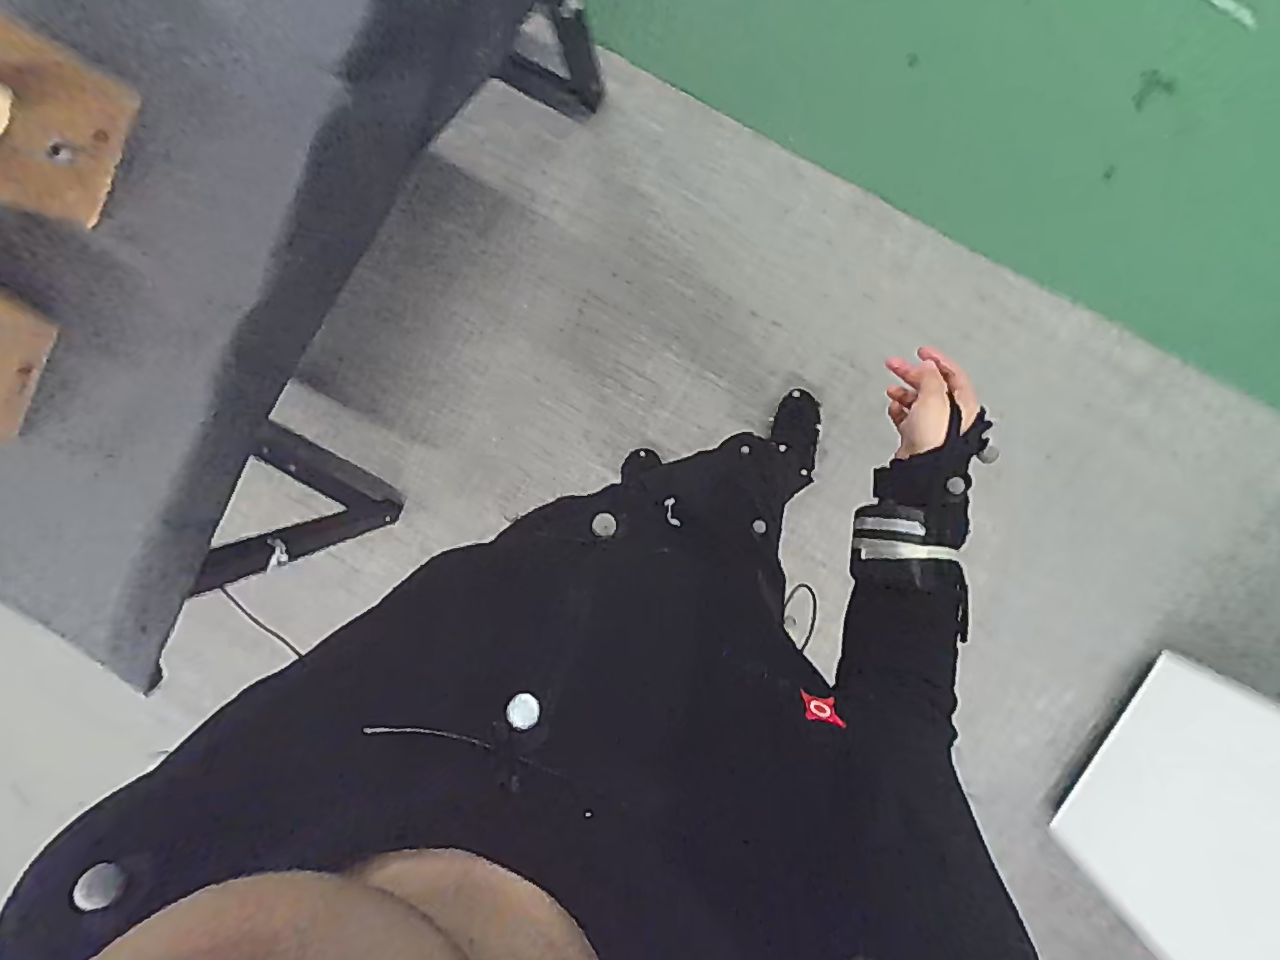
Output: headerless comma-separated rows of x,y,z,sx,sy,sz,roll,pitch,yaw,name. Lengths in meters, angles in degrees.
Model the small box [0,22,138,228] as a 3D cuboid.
-0.691,-0.391,0.552,0.179,0.176,0.168,28,98,1,small box
